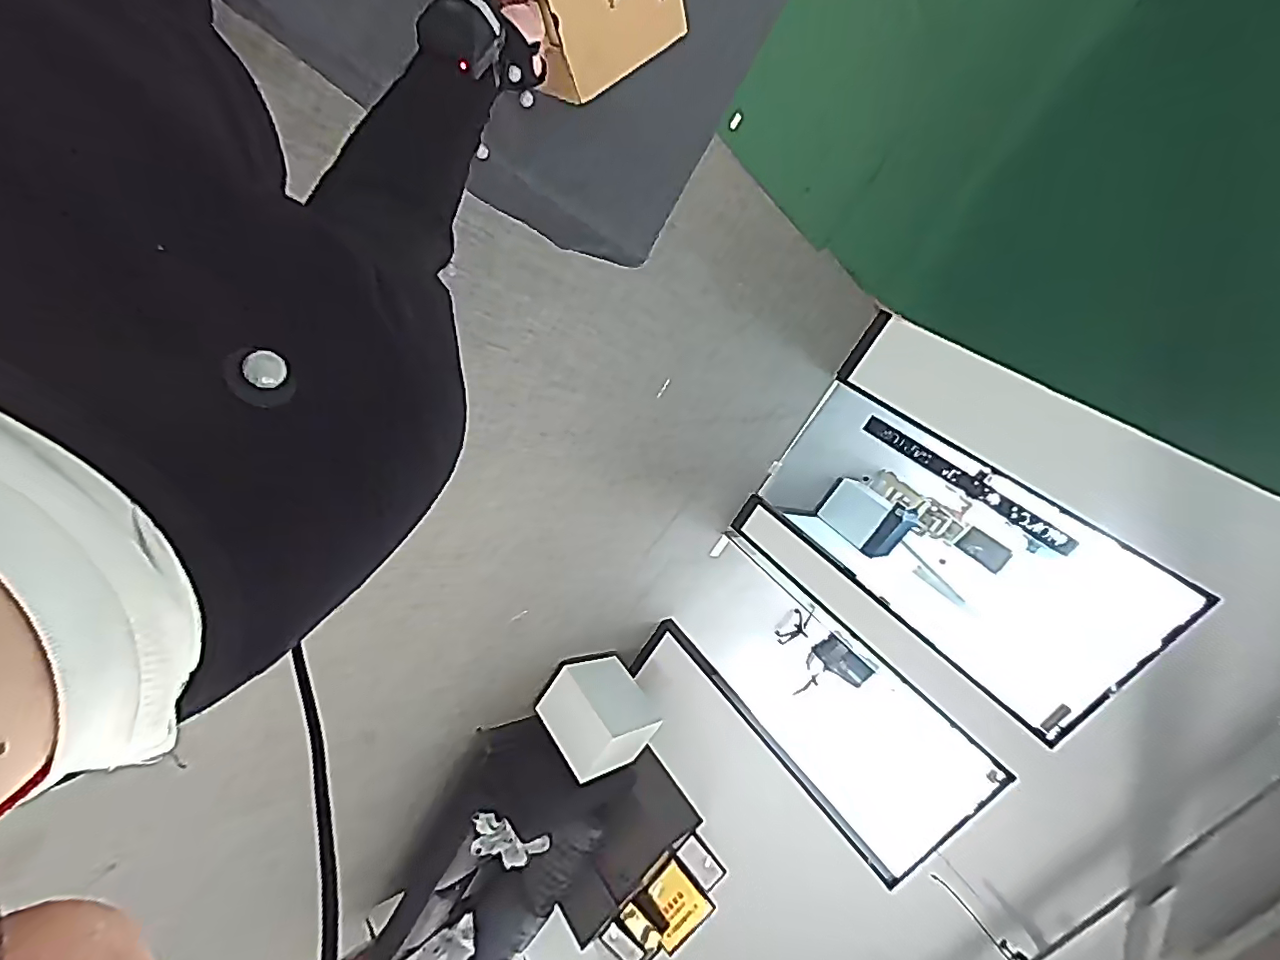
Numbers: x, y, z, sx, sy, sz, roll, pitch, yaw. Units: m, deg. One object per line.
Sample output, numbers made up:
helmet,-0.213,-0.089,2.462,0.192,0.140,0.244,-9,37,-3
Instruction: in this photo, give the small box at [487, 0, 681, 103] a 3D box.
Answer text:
small box,-0.081,-0.590,0.643,0.179,0.176,0.168,-39,145,-9
